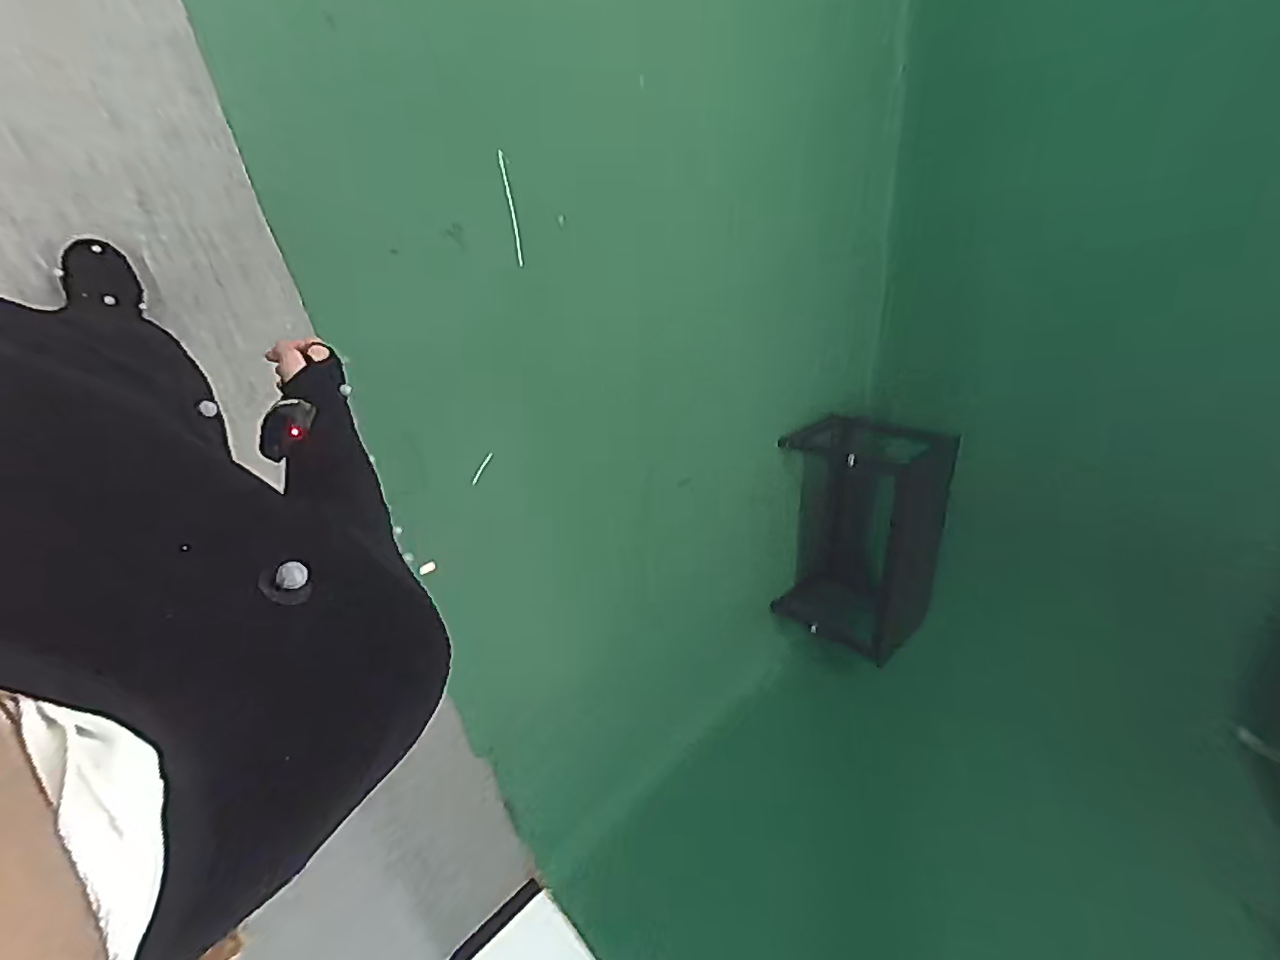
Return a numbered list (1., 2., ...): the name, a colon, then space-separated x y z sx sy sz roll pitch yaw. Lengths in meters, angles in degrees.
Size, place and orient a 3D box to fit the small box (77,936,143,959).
1. small box: -0.937 0.932 0.895 0.179 0.176 0.168 -27 124 -36
